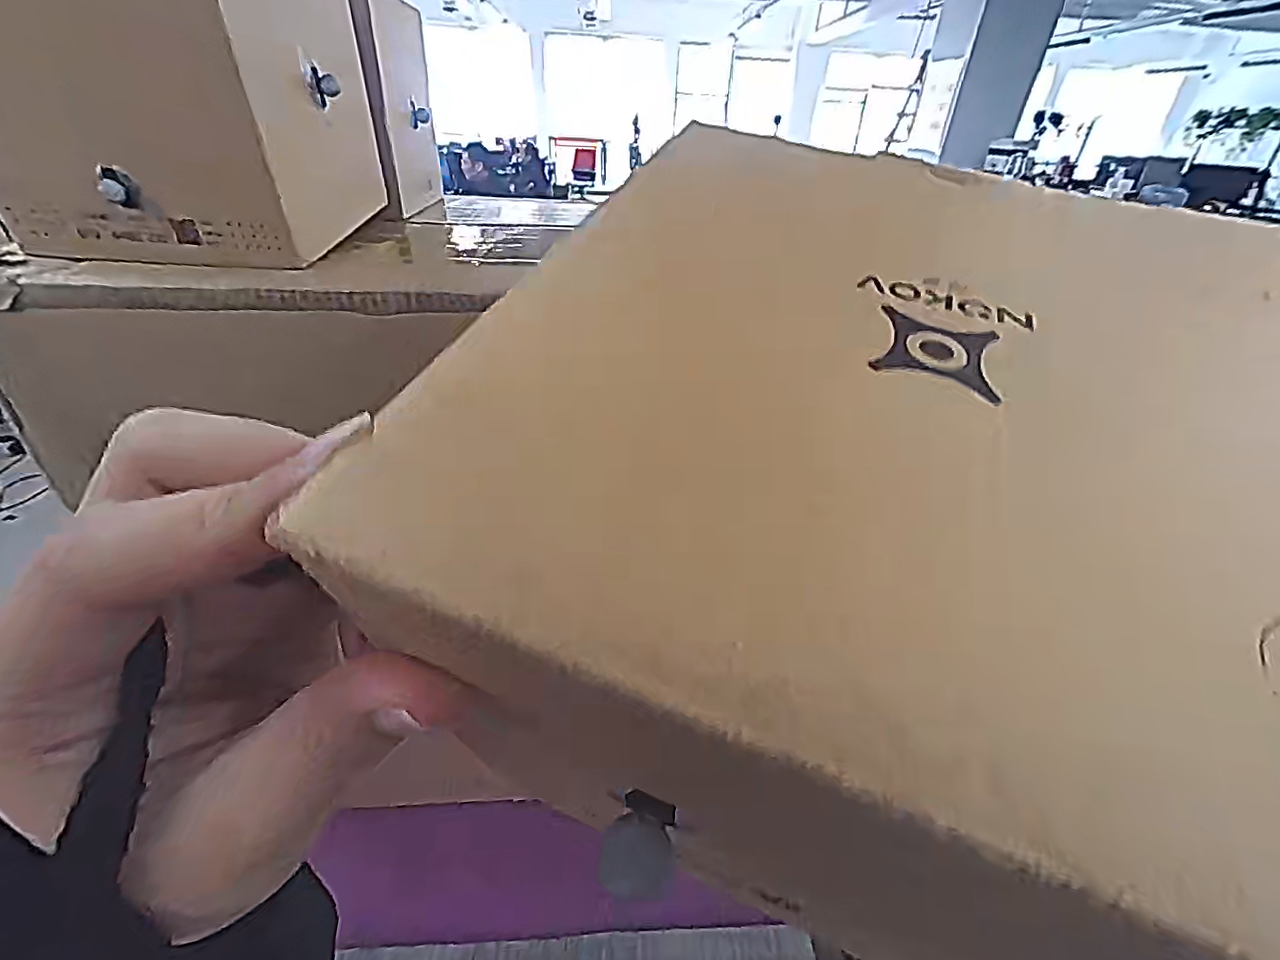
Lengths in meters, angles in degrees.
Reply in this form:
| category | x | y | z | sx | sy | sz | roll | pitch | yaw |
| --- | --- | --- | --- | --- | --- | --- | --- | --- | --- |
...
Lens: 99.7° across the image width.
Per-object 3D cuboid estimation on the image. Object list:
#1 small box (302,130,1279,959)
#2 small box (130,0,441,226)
| category | x | y | z | sx | sy | sz | roll | pitch | yaw |
| --- | --- | --- | --- | --- | --- | --- | --- | --- | --- |
| small box | 0.056 | 0.023 | 0.169 | 0.168 | 0.176 | 0.179 | 18 | 52 | 12 |
| small box | -0.297 | -0.340 | 0.503 | 0.179 | 0.176 | 0.168 | 0 | 33 | -6 |
